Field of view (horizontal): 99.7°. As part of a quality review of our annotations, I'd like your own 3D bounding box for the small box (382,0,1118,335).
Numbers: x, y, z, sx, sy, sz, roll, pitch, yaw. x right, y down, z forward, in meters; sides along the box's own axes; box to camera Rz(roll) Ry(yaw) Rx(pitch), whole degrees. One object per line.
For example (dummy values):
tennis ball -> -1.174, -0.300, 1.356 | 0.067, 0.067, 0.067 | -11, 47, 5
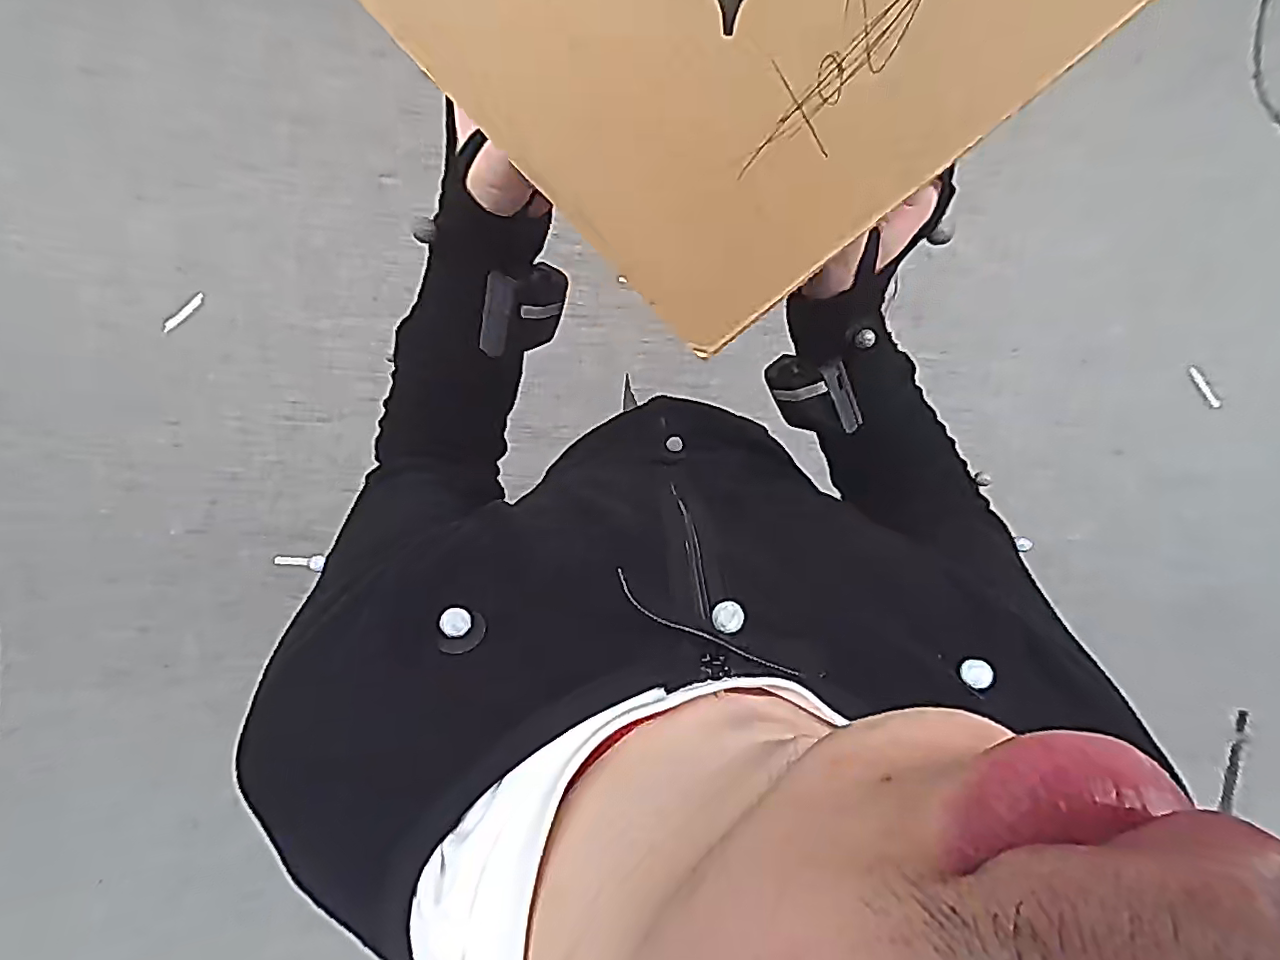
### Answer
small box -> 0.033, -0.199, 0.214 | 0.179, 0.176, 0.168 | 40, 125, -21
